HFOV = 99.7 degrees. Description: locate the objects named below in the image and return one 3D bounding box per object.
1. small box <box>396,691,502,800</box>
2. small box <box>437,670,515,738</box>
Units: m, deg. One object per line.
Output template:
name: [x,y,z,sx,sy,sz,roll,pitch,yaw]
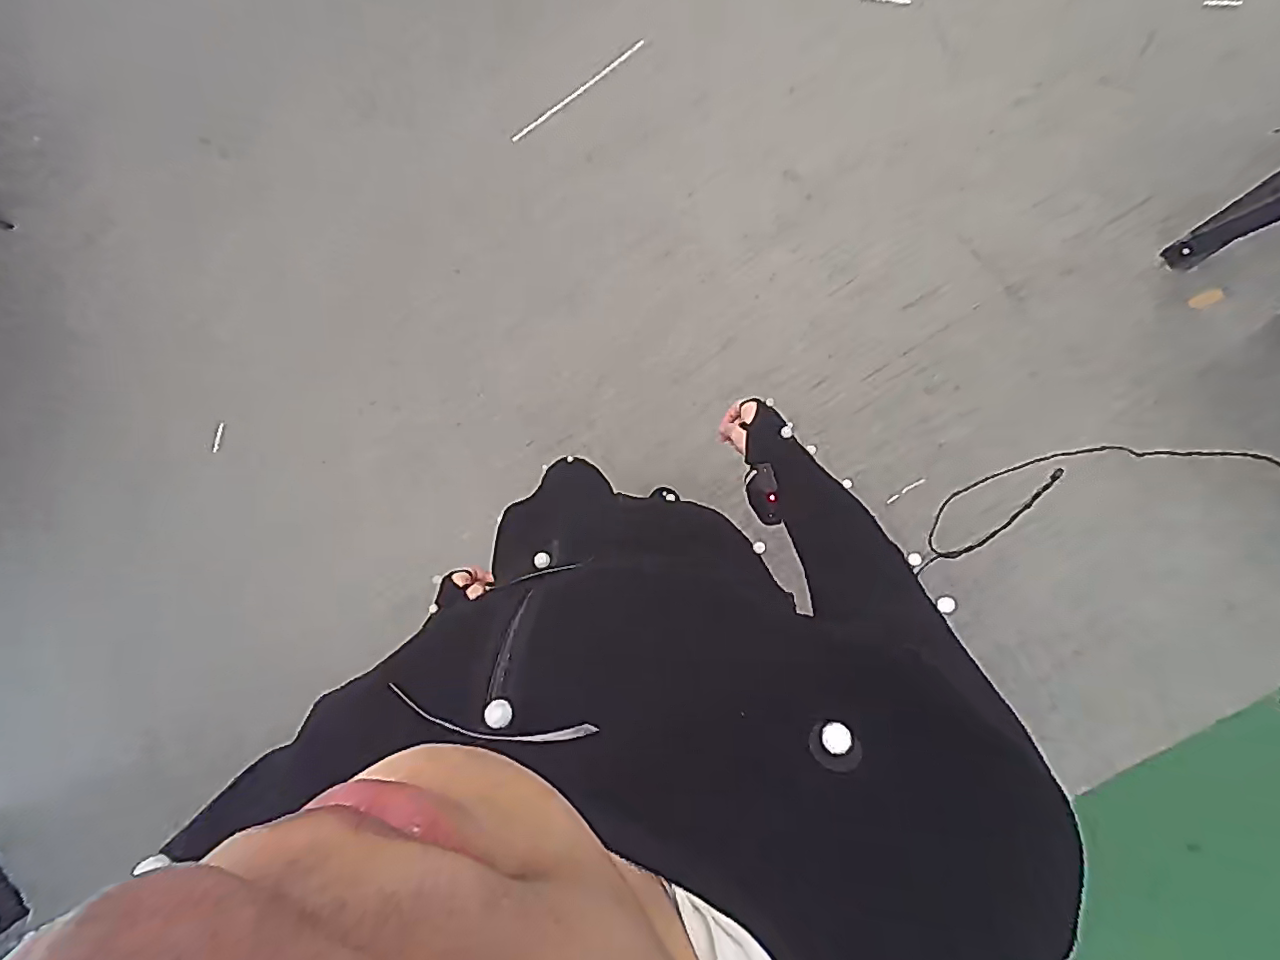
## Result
small box: [-0.496,0.685,1.427,0.168,0.176,0.179,-33,88,4]
small box: [-0.487,0.690,1.589,0.179,0.176,0.168,-32,87,4]
